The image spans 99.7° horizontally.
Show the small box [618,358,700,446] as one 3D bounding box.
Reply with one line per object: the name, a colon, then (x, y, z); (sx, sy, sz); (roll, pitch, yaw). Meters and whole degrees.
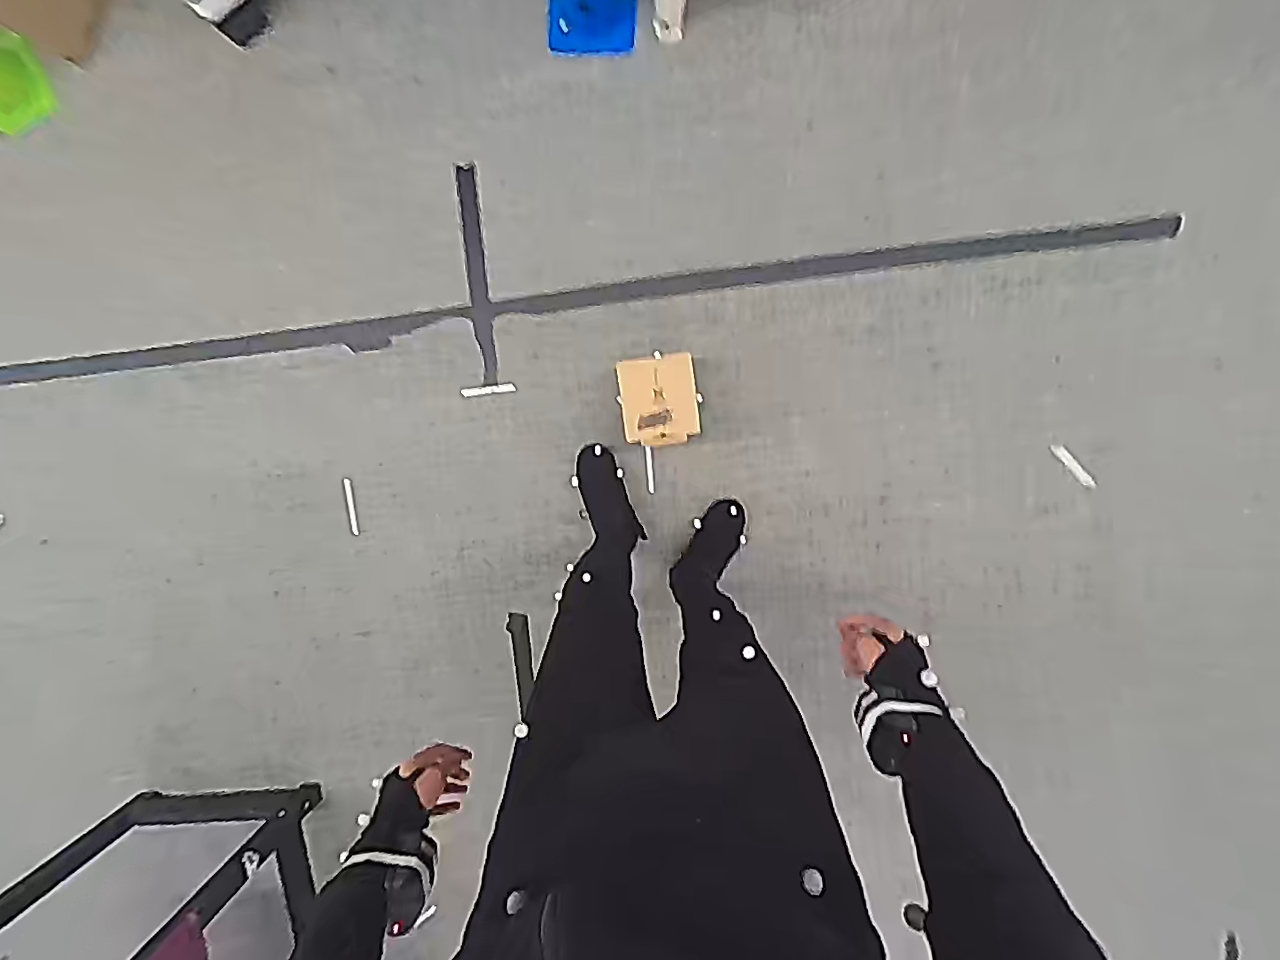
small box: (0.049, -0.180, 1.254); (0.168, 0.176, 0.179); (-7, 97, 5)
